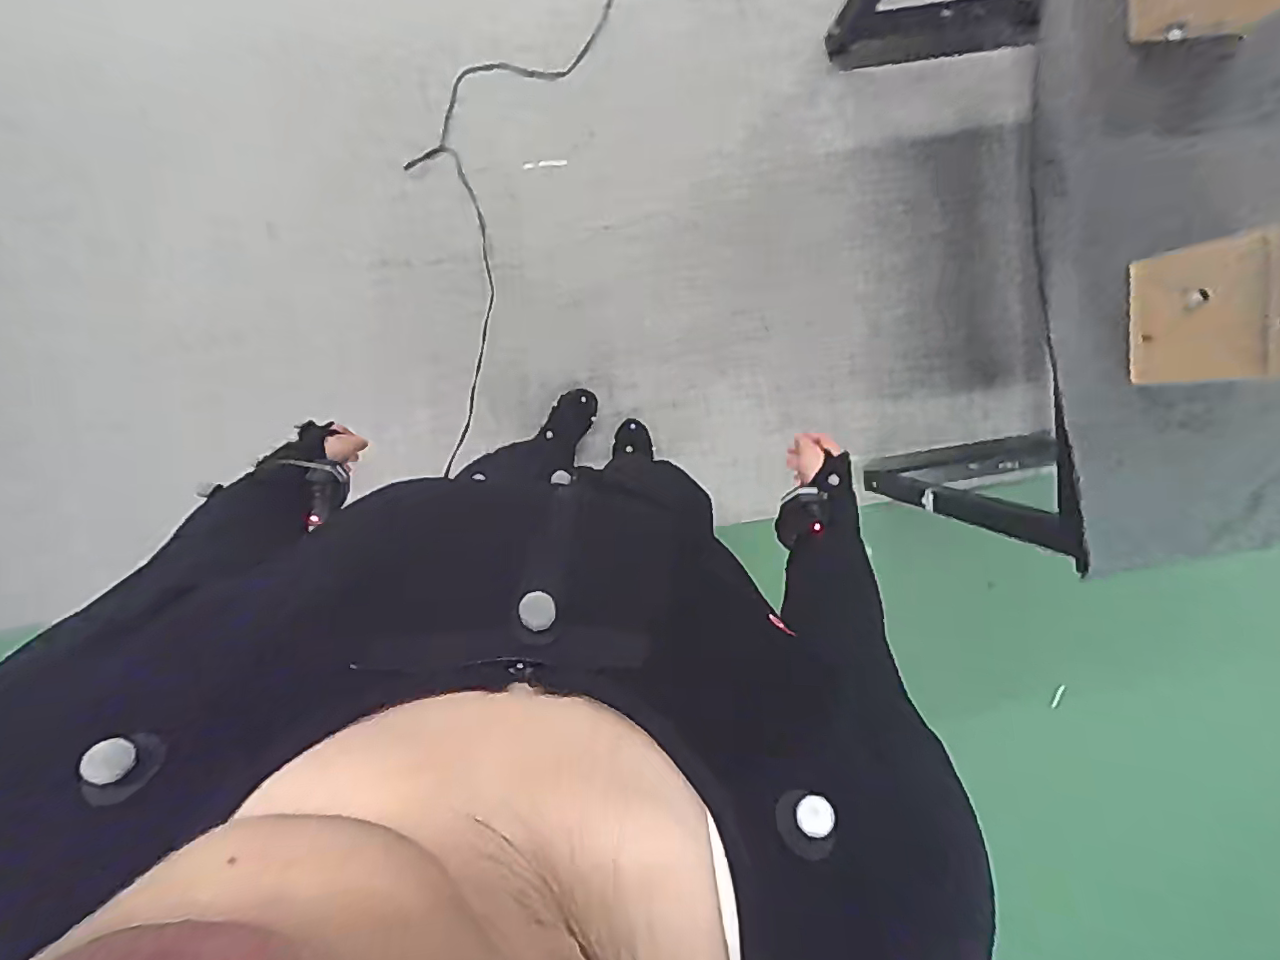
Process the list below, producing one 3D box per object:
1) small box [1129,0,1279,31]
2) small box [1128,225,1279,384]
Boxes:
[{"bbox_3d":[0.707,-0.653,0.614,0.168,0.176,0.179,-8,98,-3],"label":"small box"},{"bbox_3d":[0.767,-0.216,0.680,0.179,0.176,0.168,-9,98,-4],"label":"small box"}]
